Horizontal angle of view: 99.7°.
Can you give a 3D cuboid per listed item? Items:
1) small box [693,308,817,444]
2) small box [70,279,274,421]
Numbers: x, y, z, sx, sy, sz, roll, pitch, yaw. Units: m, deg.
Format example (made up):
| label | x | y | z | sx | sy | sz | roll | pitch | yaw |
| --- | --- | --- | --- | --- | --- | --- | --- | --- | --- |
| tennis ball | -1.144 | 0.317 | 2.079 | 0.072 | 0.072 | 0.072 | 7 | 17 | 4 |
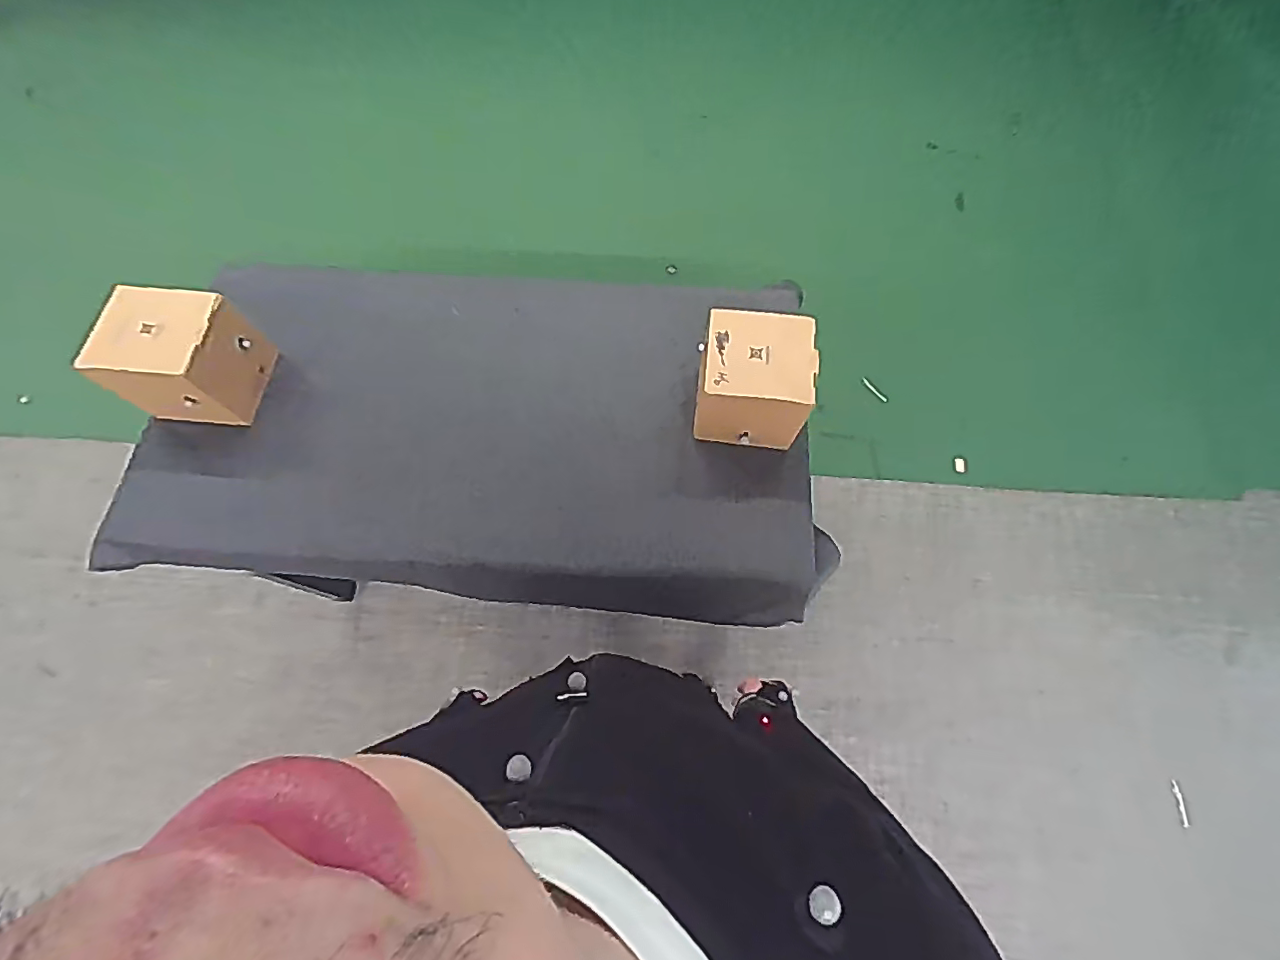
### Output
| label | x | y | z | sx | sy | sz | roll | pitch | yaw |
| --- | --- | --- | --- | --- | --- | --- | --- | --- | --- |
| small box | 0.196 | -0.173 | 0.947 | 0.179 | 0.176 | 0.168 | 7 | 69 | 2 |
| small box | -0.783 | -0.216 | 0.932 | 0.179 | 0.176 | 0.168 | 6 | 66 | 1 |
